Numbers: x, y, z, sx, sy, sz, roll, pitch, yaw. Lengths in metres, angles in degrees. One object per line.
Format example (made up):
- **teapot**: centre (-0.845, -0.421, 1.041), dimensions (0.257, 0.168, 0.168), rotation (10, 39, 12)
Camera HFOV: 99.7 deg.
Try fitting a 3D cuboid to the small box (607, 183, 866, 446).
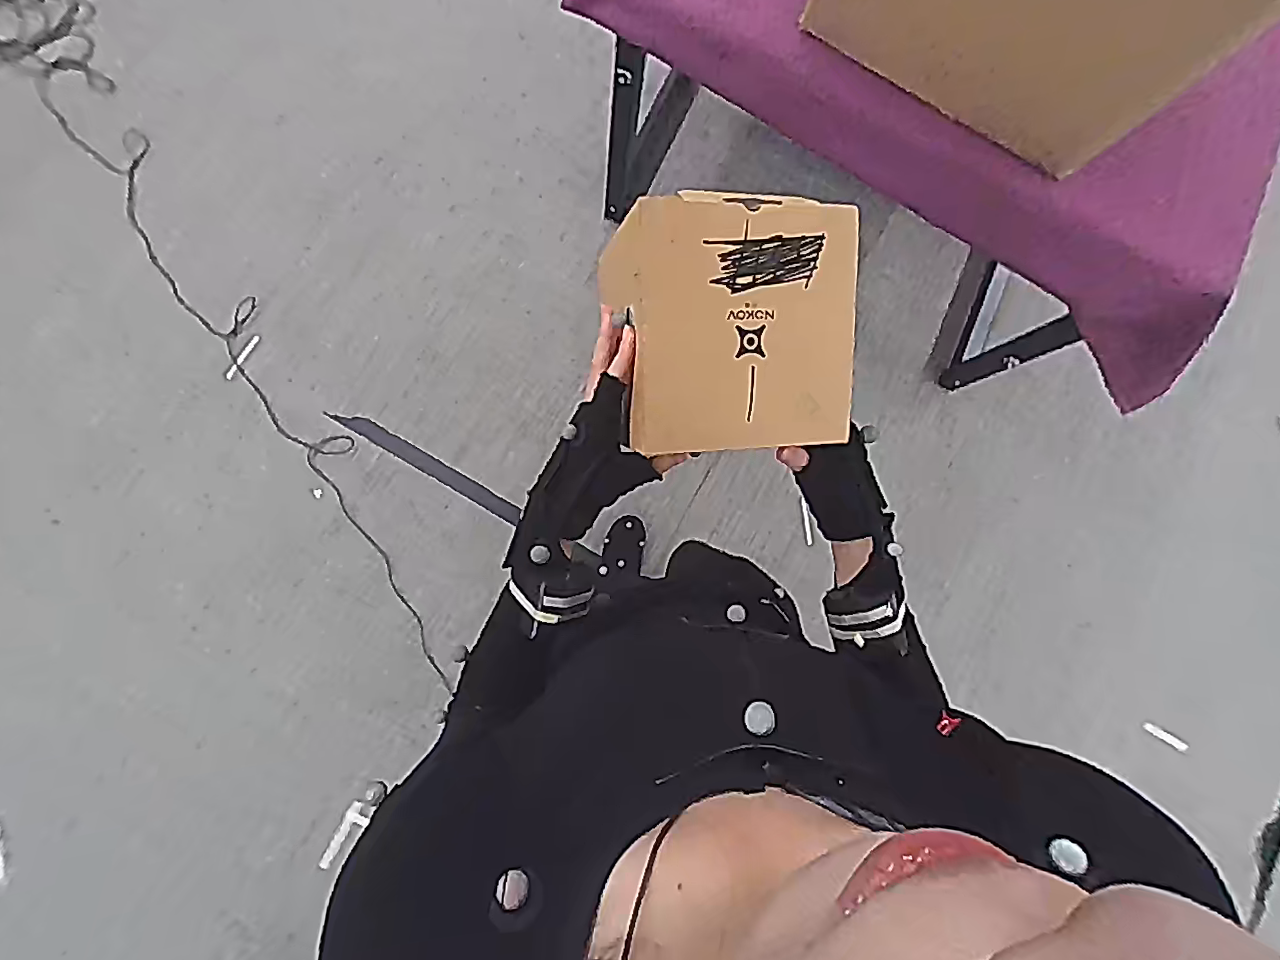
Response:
- **small box**: centre (0.067, -0.124, 0.460), dimensions (0.168, 0.176, 0.179), rotation (-4, 99, -12)
